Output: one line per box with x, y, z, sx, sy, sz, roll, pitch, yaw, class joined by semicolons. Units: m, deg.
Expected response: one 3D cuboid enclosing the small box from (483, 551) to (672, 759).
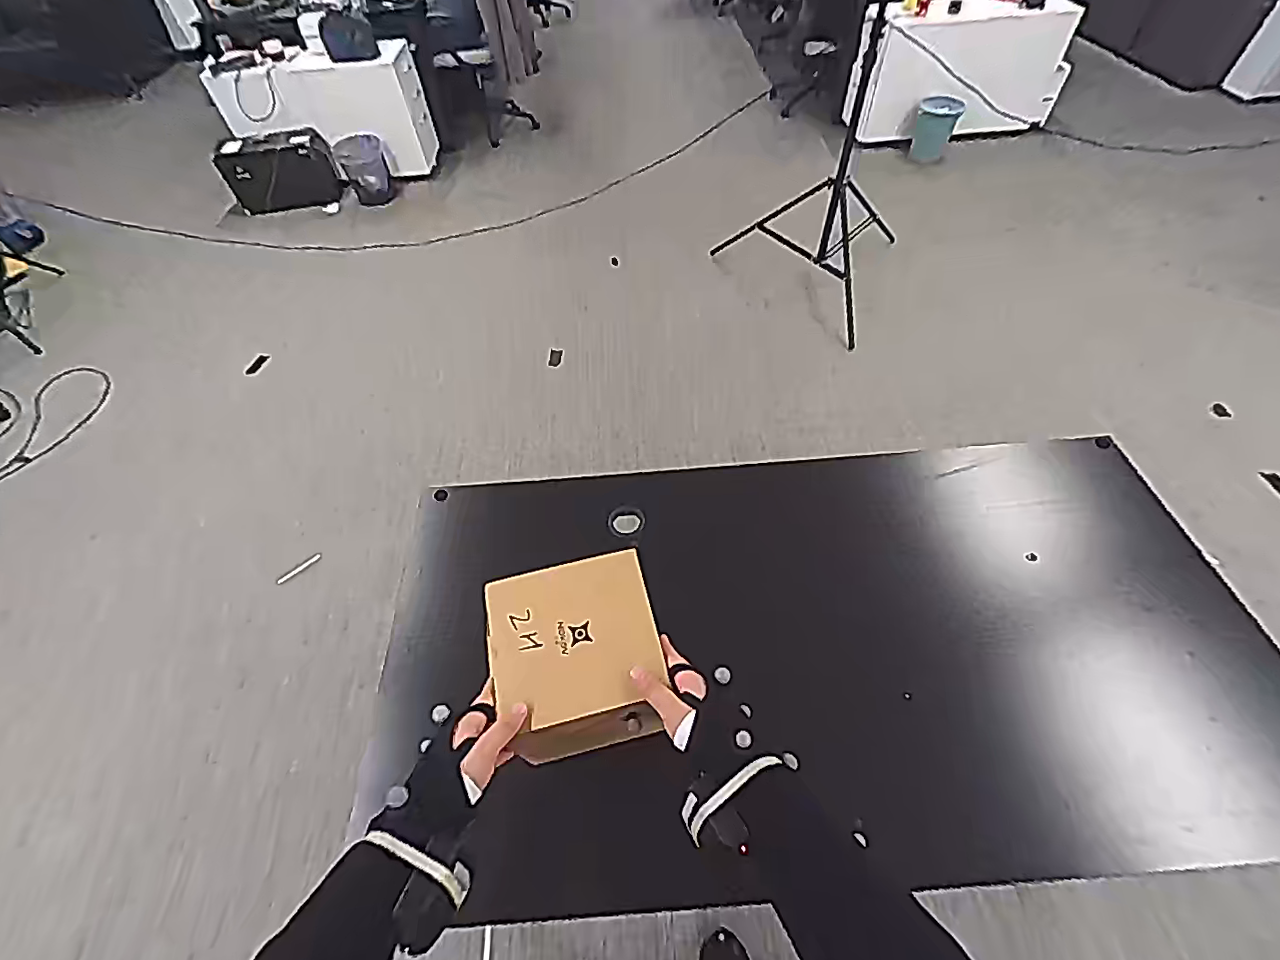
-0.067;0.207;0.627;0.179;0.176;0.168;-14;56;-5;small box
